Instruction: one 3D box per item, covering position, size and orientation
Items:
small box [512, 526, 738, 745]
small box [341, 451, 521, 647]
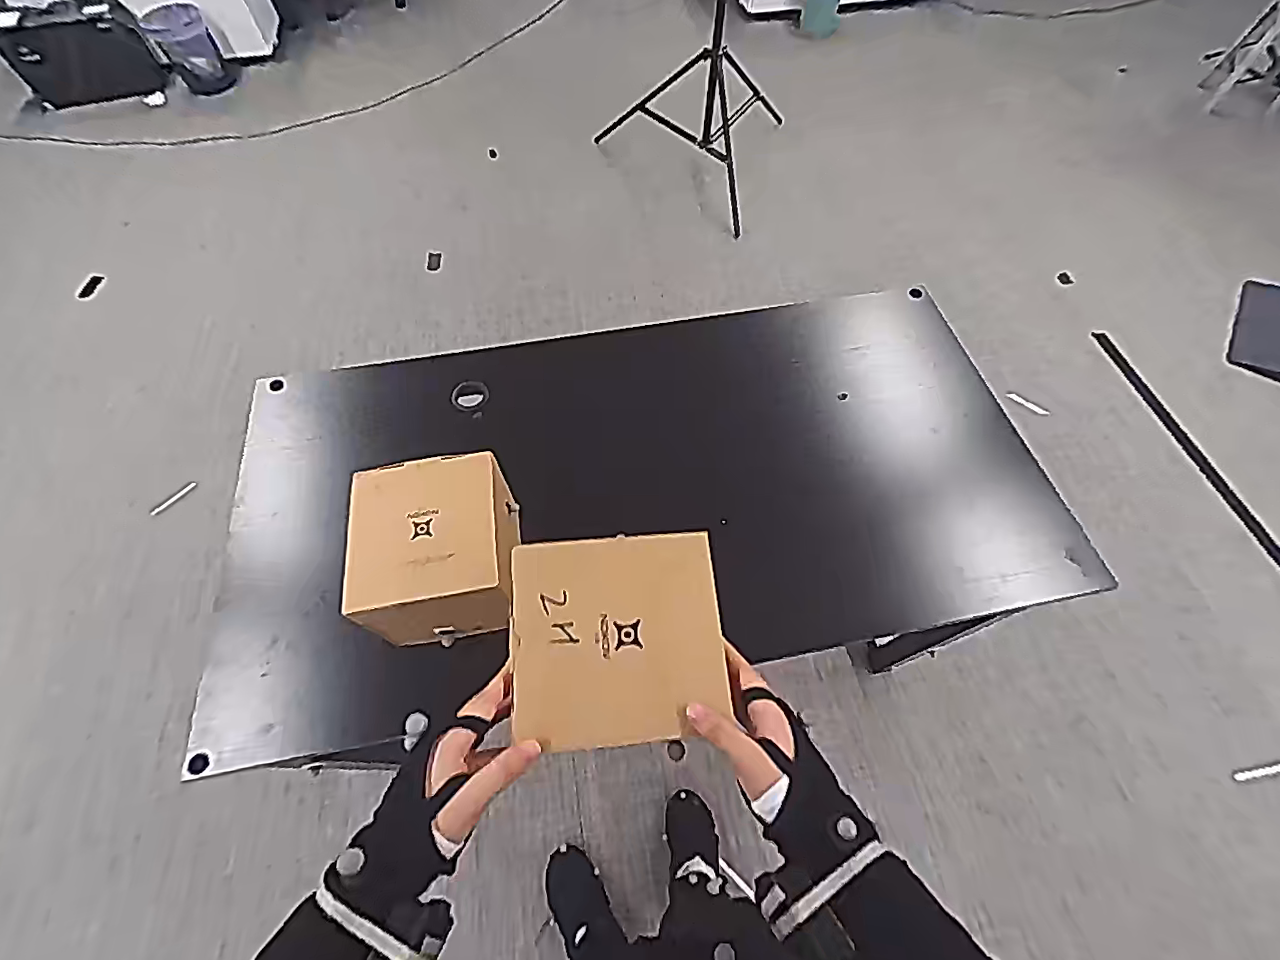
[{"bbox_3d":[-0.019,0.149,0.514,0.179,0.176,0.168,-3,67,-4],"label":"small box"},{"bbox_3d":[-0.242,0.090,0.671,0.168,0.176,0.179,-10,62,-5],"label":"small box"}]
